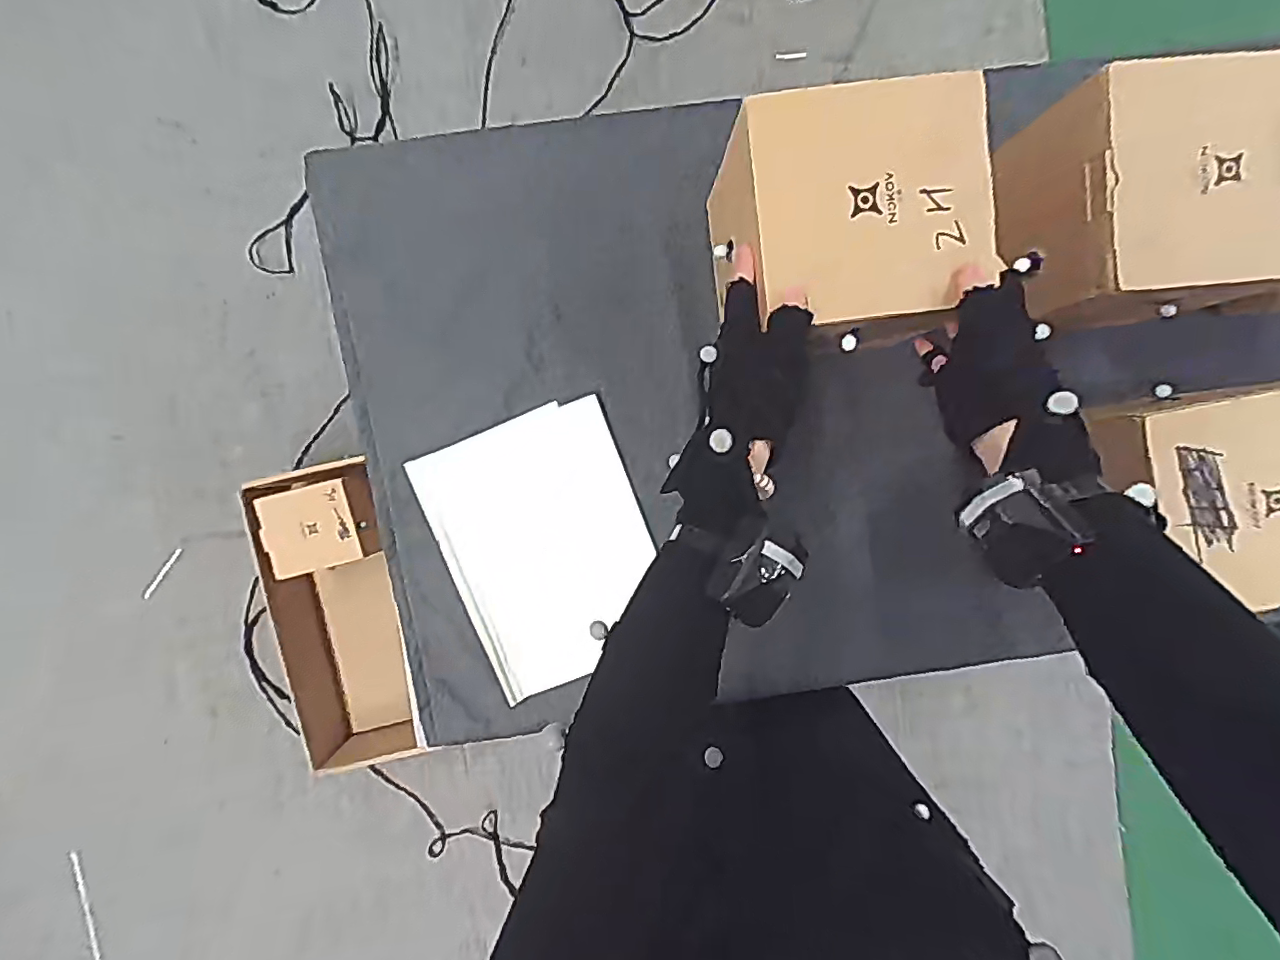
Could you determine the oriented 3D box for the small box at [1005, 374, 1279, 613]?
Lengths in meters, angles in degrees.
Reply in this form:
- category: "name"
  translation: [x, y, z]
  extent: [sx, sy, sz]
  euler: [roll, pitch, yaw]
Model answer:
- category: "small box"
  translation: [0.465, 0.005, 0.486]
  extent: [0.179, 0.176, 0.168]
  euler: [-11, 93, -2]
